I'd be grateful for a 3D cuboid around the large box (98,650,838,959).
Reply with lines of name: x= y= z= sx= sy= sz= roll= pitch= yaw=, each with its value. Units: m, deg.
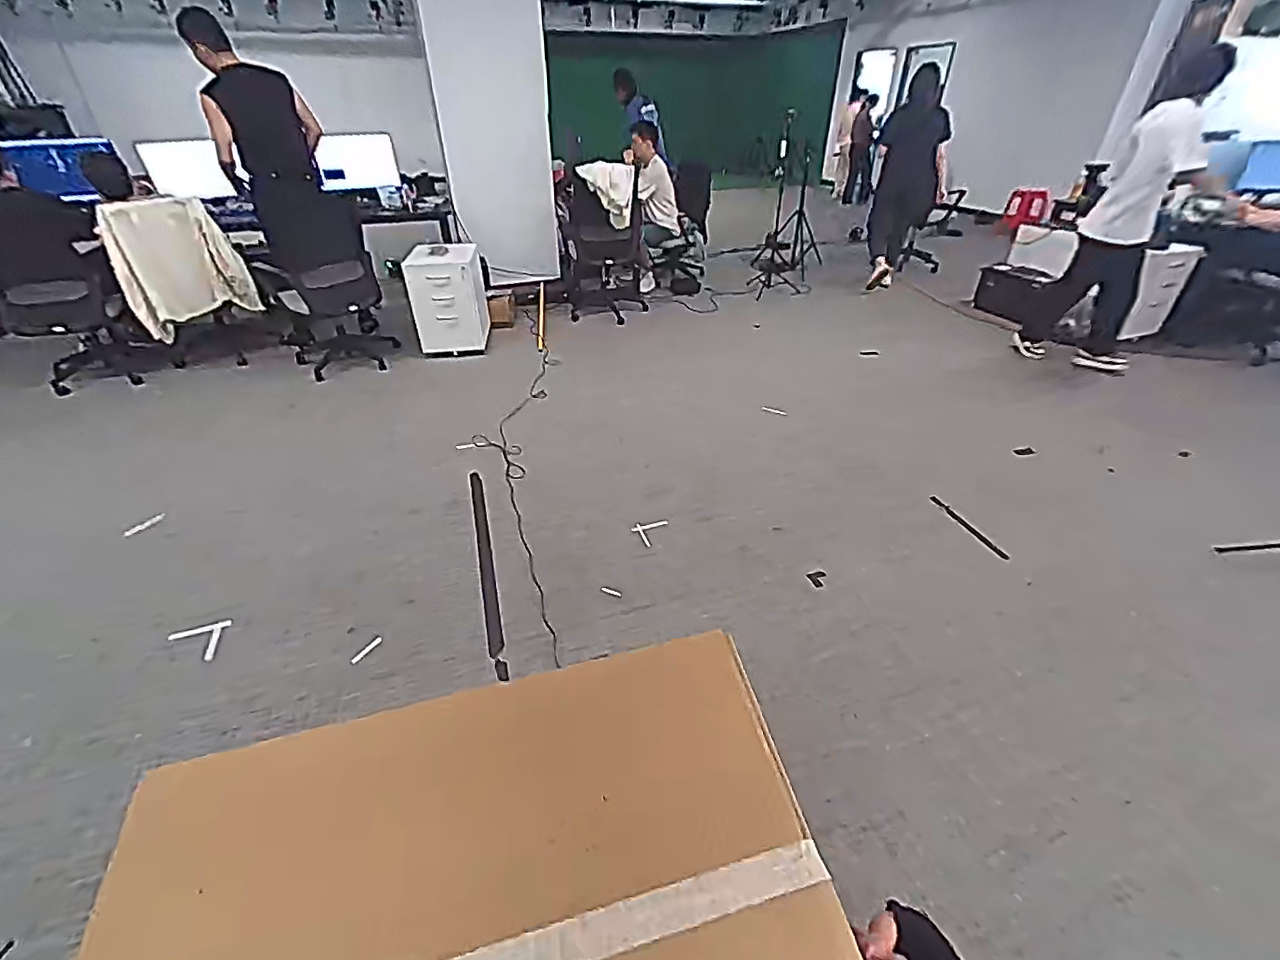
large box: x=-0.089 y=0.379 z=0.396 sx=0.408 sy=0.320 sz=0.320 roll=-11 pitch=45 yaw=-10
